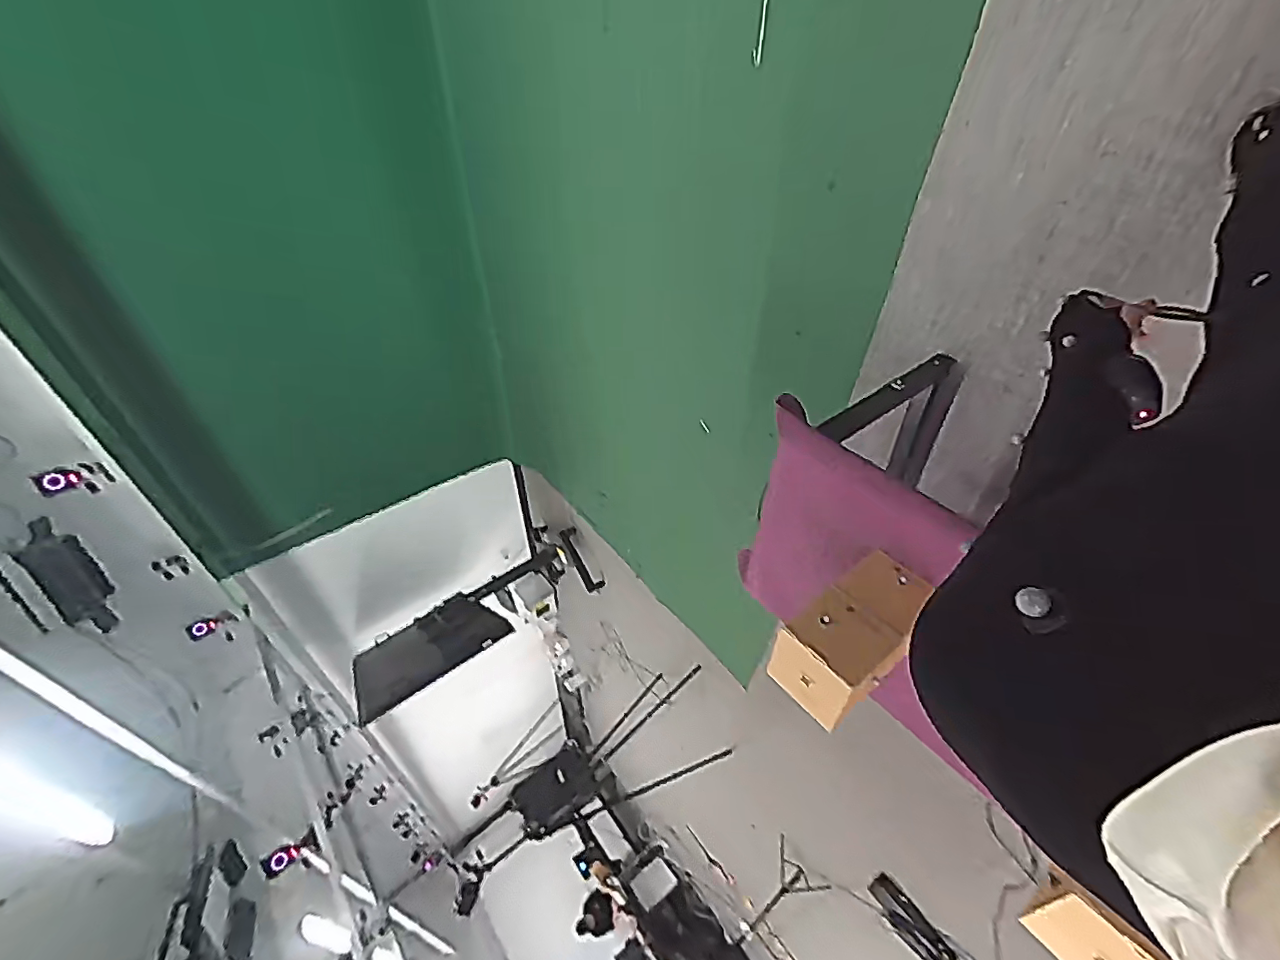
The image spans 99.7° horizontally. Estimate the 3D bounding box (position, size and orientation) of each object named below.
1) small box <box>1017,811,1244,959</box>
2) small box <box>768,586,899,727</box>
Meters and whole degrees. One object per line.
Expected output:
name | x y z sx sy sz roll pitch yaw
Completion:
small box | 0.711 0.634 0.791 0.168 0.176 0.179 40 145 37
small box | 0.388 0.347 1.088 0.168 0.176 0.179 41 145 36
